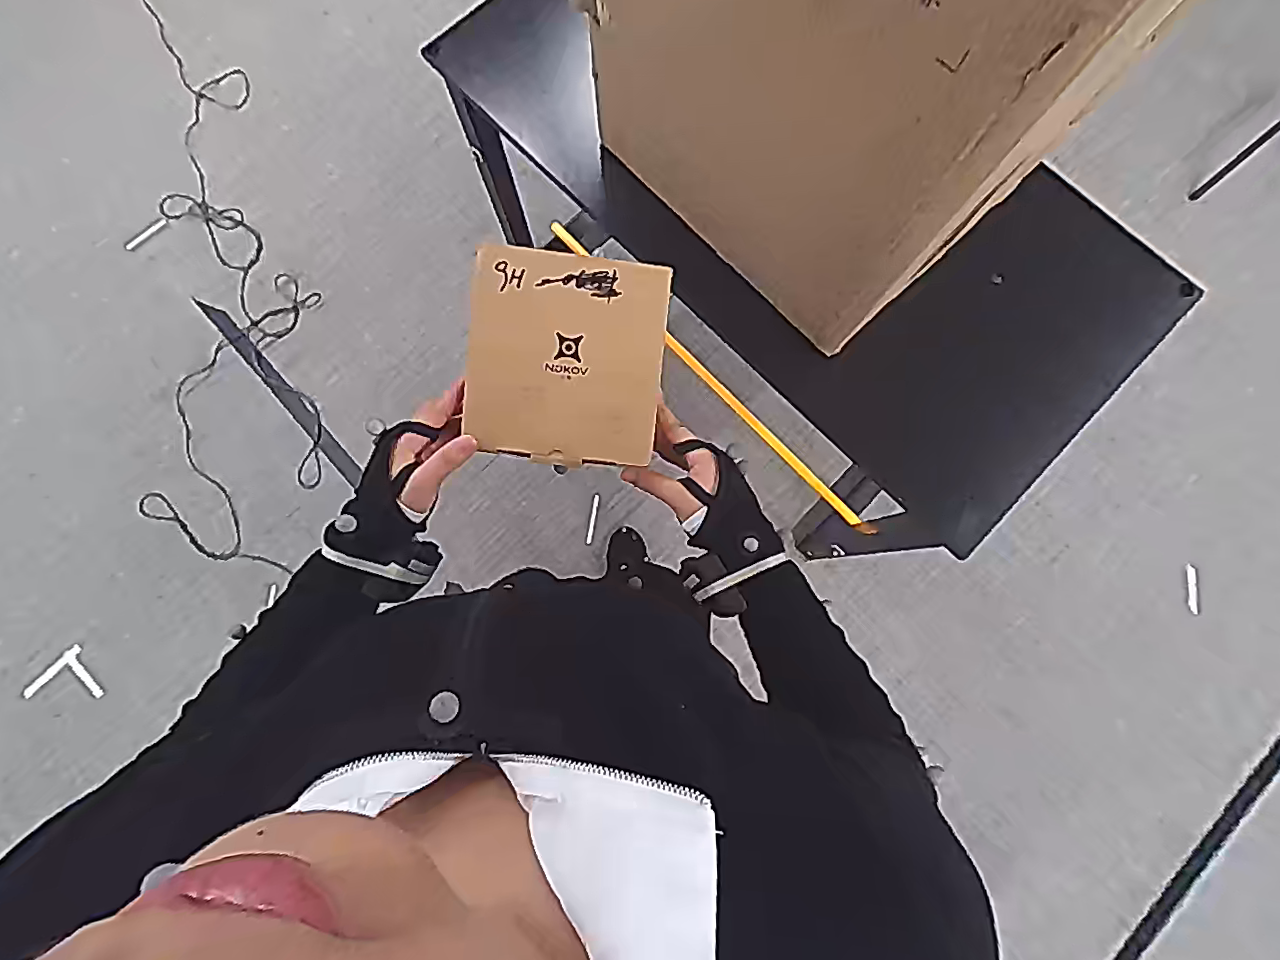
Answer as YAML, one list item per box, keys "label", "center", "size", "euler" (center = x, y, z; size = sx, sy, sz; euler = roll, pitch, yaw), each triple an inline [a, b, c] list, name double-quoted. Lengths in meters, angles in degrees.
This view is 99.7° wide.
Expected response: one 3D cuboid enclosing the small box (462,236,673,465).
- label: "small box"
  center: [-0.067, -0.115, 0.537]
  size: [0.168, 0.176, 0.179]
  euler: [6, 95, -5]
